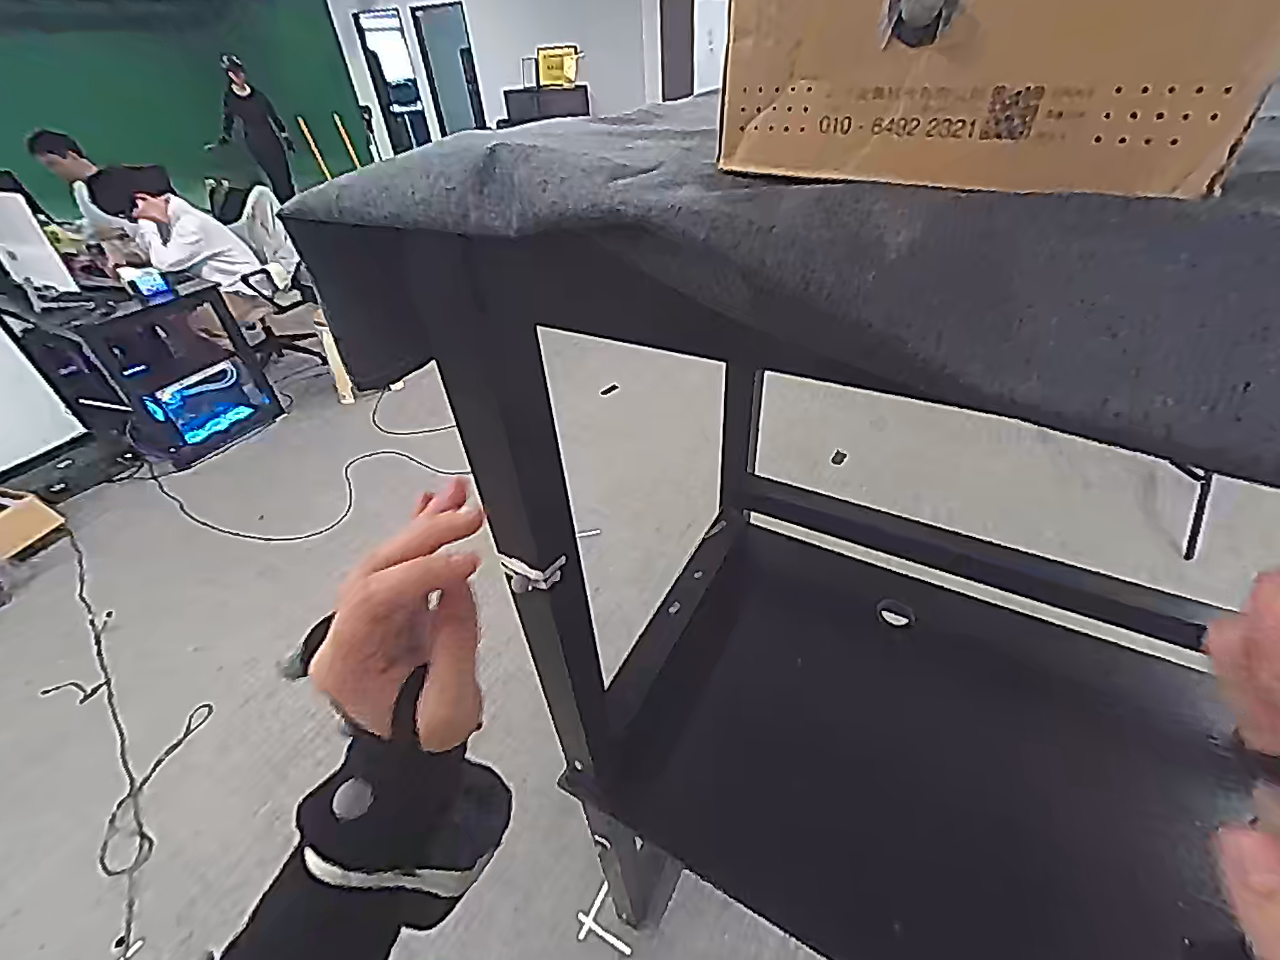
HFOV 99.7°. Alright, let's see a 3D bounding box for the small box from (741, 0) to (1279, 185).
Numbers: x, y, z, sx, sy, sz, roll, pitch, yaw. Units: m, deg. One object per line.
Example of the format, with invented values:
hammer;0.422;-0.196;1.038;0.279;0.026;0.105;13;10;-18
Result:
small box;0.146;-0.226;0.204;0.168;0.176;0.179;18;43;23
